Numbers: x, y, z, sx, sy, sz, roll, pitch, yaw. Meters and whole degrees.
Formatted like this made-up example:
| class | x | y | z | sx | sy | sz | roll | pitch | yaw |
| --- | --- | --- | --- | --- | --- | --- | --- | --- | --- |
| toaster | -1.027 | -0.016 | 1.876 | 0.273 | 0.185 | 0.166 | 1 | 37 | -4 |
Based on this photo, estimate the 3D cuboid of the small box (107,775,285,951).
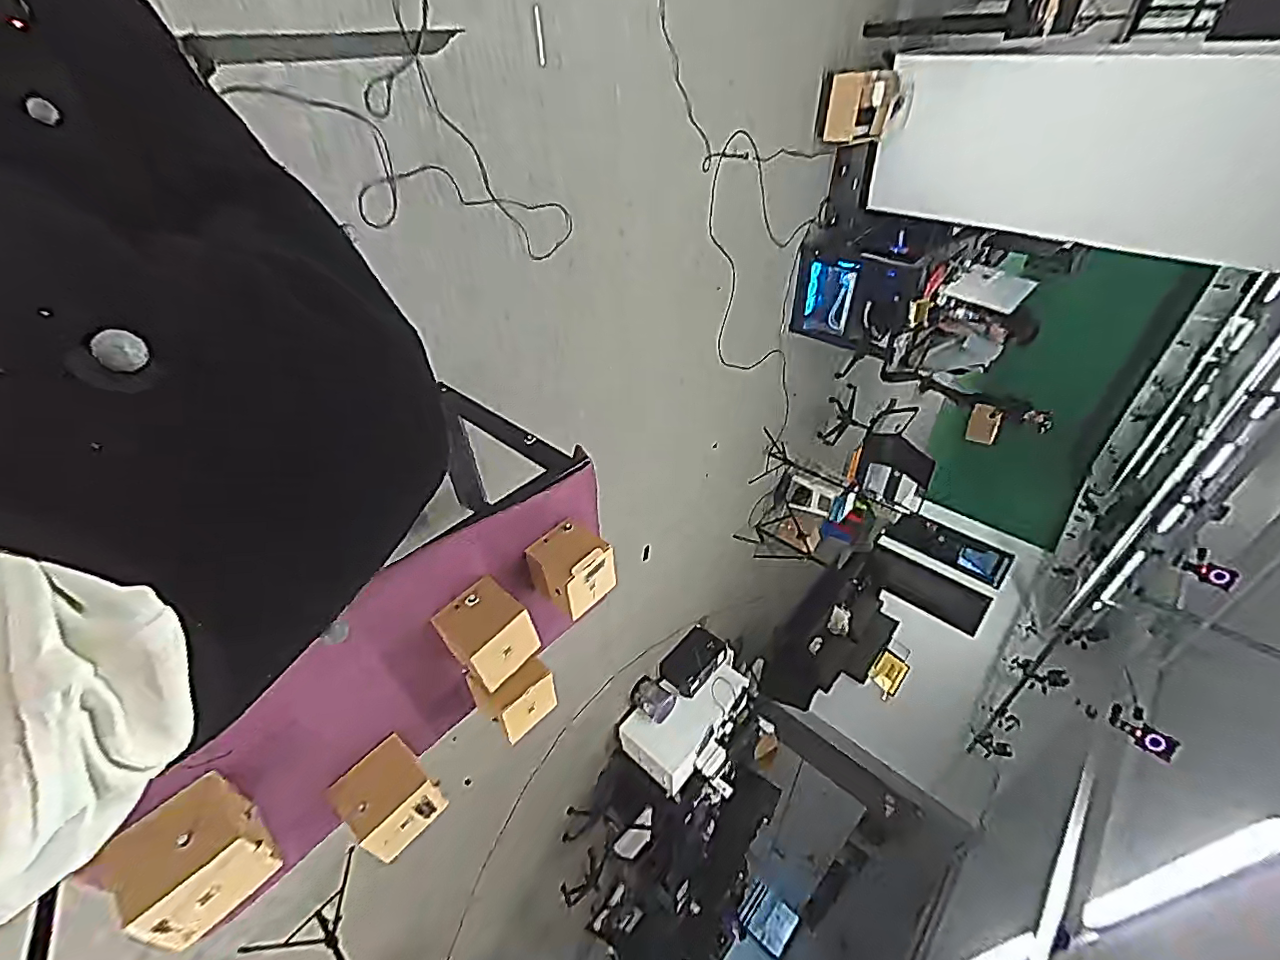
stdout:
| class | x | y | z | sx | sy | sz | roll | pitch | yaw |
| --- | --- | --- | --- | --- | --- | --- | --- | --- | --- |
| small box | -0.798 | 0.682 | 0.978 | 0.179 | 0.176 | 0.168 | -37 | 140 | -35 |

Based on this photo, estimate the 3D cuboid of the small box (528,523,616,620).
| class | x | y | z | sx | sy | sz | roll | pitch | yaw |
| --- | --- | --- | --- | --- | --- | --- | --- | --- | --- |
| small box | -0.187 | 0.240 | 1.483 | 0.168 | 0.176 | 0.179 | -38 | 143 | -32 |

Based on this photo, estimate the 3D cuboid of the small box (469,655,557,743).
| class | x | y | z | sx | sy | sz | roll | pitch | yaw |
| --- | --- | --- | --- | --- | --- | --- | --- | --- | --- |
| small box | -0.355 | 0.588 | 1.519 | 0.168 | 0.176 | 0.179 | -34 | 139 | -35 |

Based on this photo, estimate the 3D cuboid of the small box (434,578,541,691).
| class | x | y | z | sx | sy | sz | roll | pitch | yaw |
| --- | --- | --- | --- | --- | --- | --- | --- | --- | --- |
| small box | -0.374 | 0.376 | 1.334 | 0.168 | 0.176 | 0.179 | -41 | 143 | -30 |
